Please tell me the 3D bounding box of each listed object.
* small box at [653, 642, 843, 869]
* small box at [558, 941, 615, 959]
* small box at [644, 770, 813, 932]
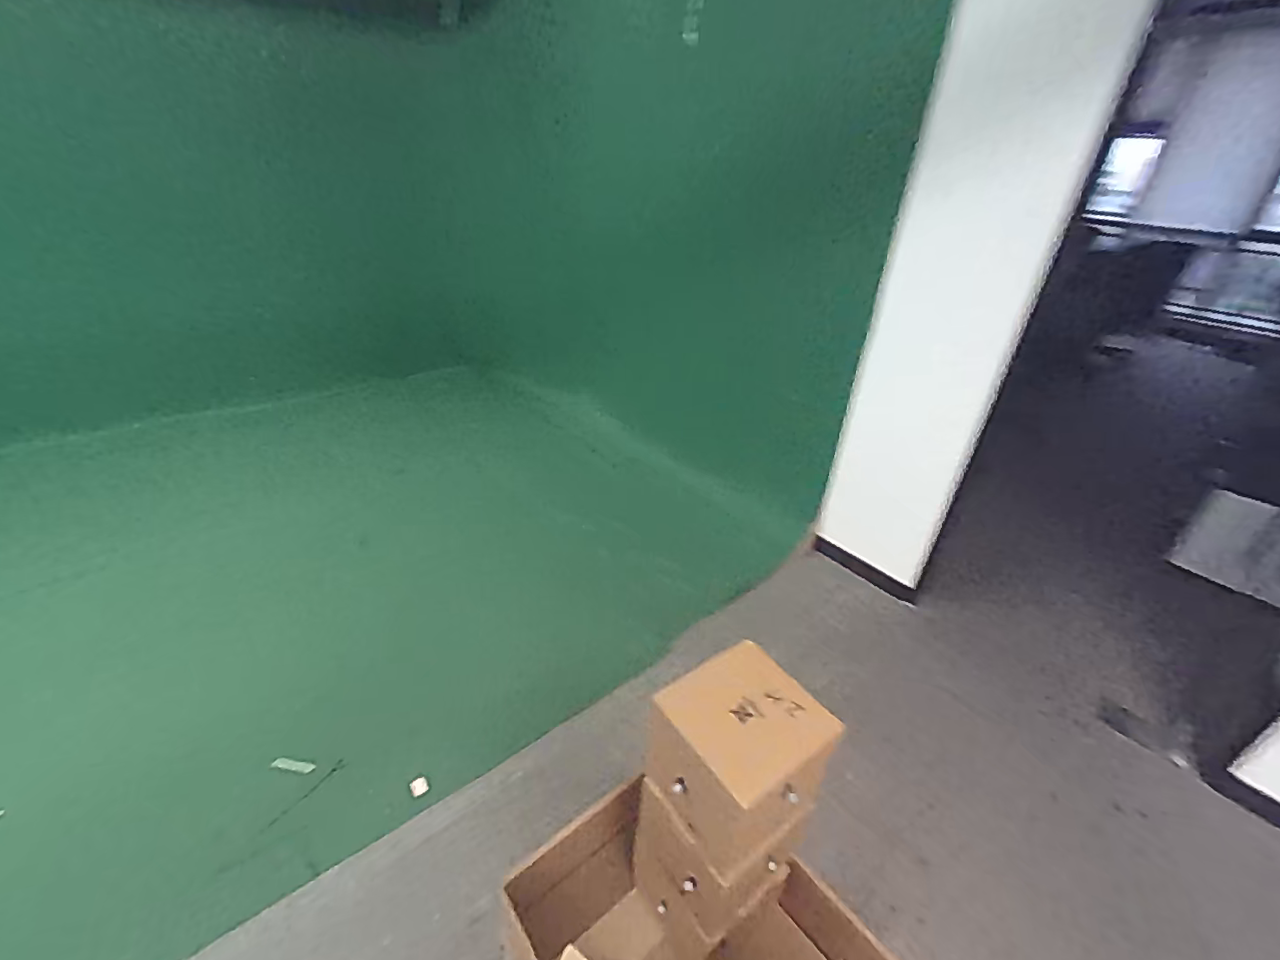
[{"bbox_3d":[0.129,0.356,0.711,0.179,0.176,0.168,-18,39,-31],"label":"small box"},{"bbox_3d":[-0.002,0.485,0.383,0.179,0.176,0.168,11,52,35],"label":"small box"},{"bbox_3d":[0.119,0.499,0.791,0.179,0.176,0.168,-18,39,-32],"label":"small box"}]
